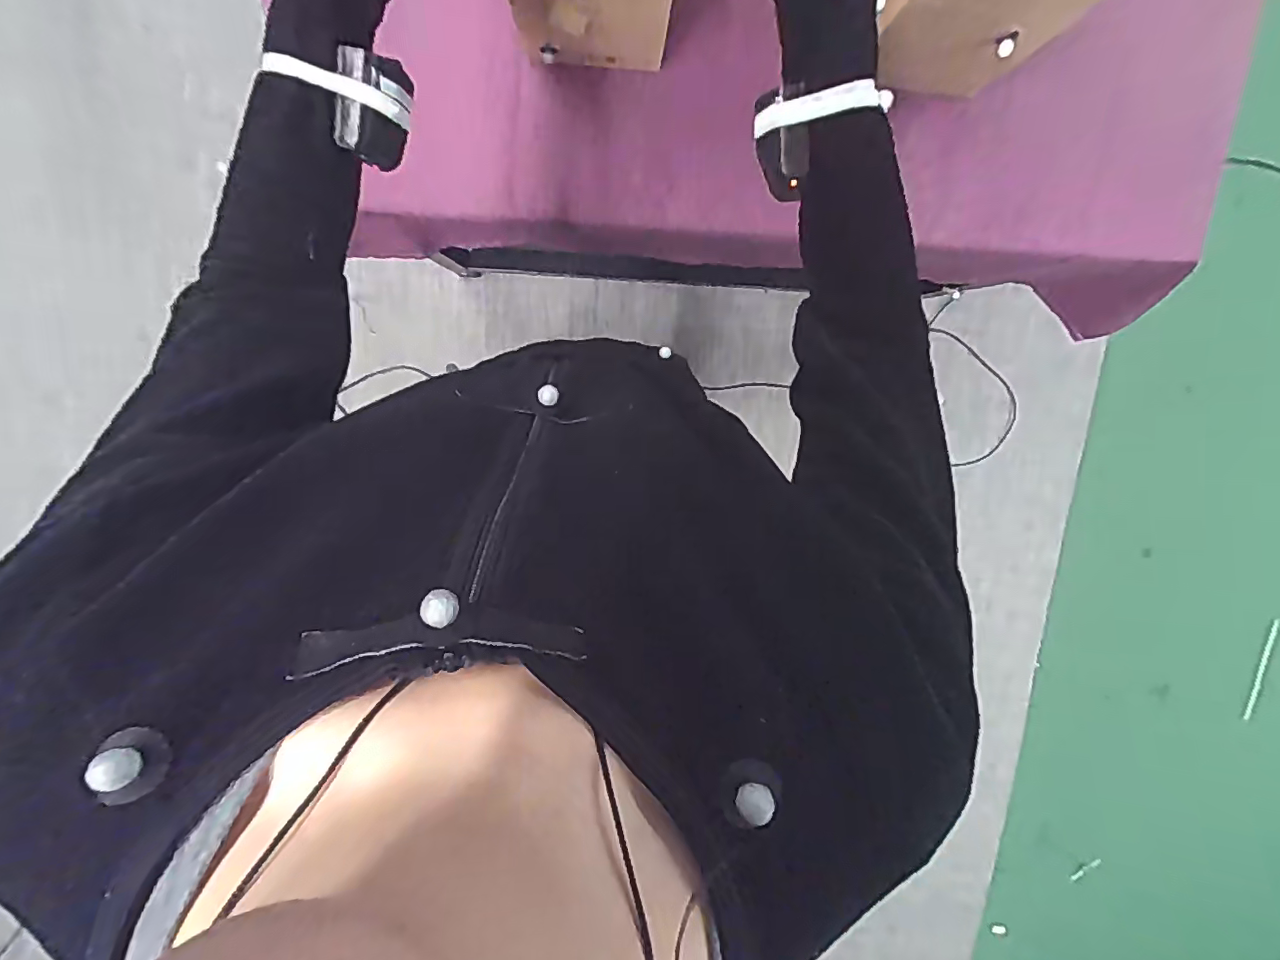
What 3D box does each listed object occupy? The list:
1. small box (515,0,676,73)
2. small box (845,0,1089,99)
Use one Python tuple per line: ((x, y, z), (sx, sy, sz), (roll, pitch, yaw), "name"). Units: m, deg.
((-0.042, -0.562, 0.560), (0.168, 0.176, 0.179), (2, 102, -4), "small box")
((0.350, -0.545, 0.583), (0.179, 0.176, 0.168), (4, 102, -4), "small box")
